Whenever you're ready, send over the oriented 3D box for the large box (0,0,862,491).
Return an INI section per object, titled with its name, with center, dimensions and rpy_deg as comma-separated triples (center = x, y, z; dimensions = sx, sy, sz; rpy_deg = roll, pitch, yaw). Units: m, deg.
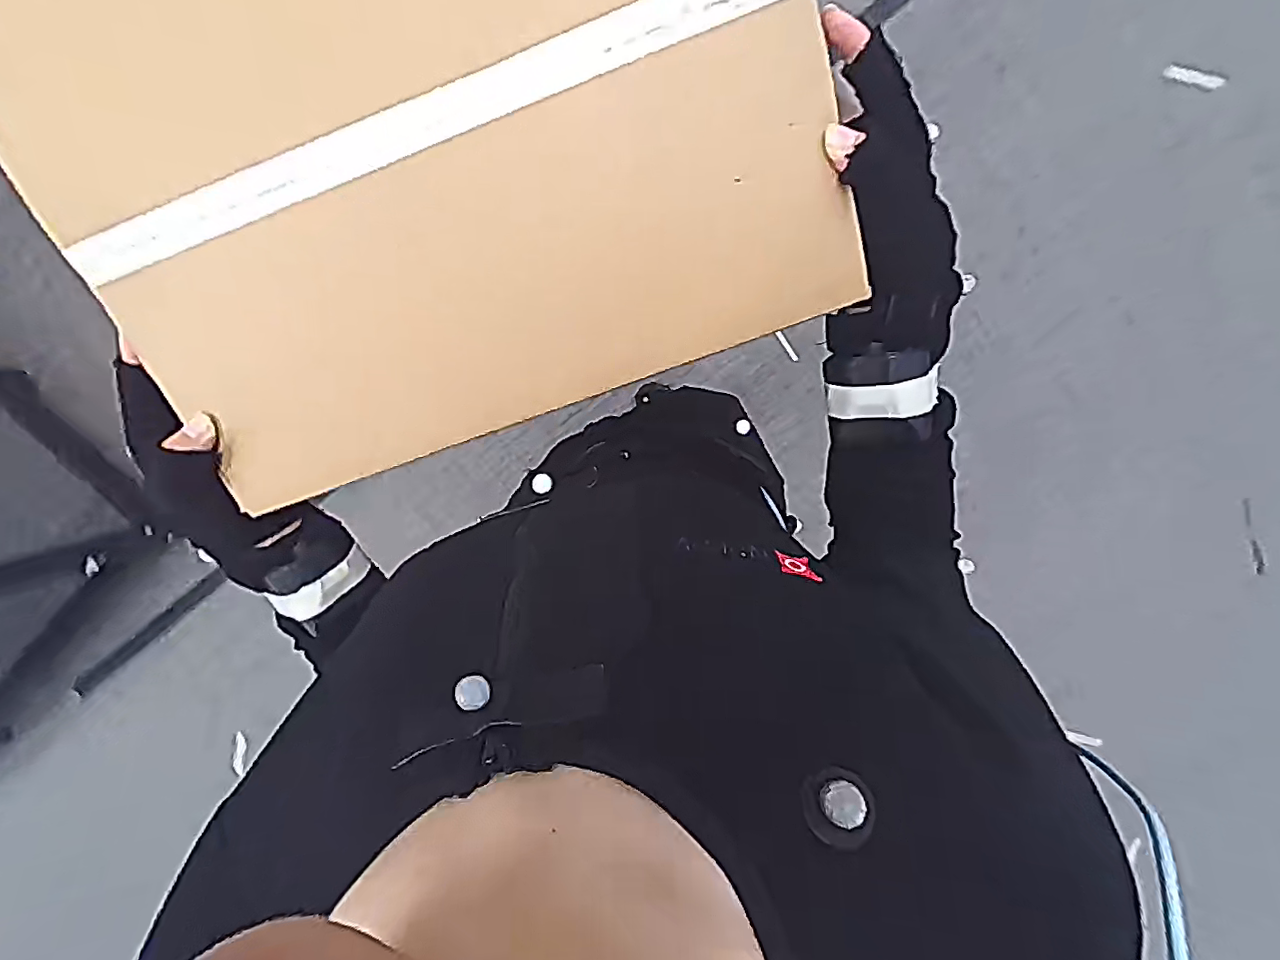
[large box]
center = -0.108, -0.238, 0.426
dimensions = 0.408, 0.320, 0.320
rpy_deg = -18, 111, 5
